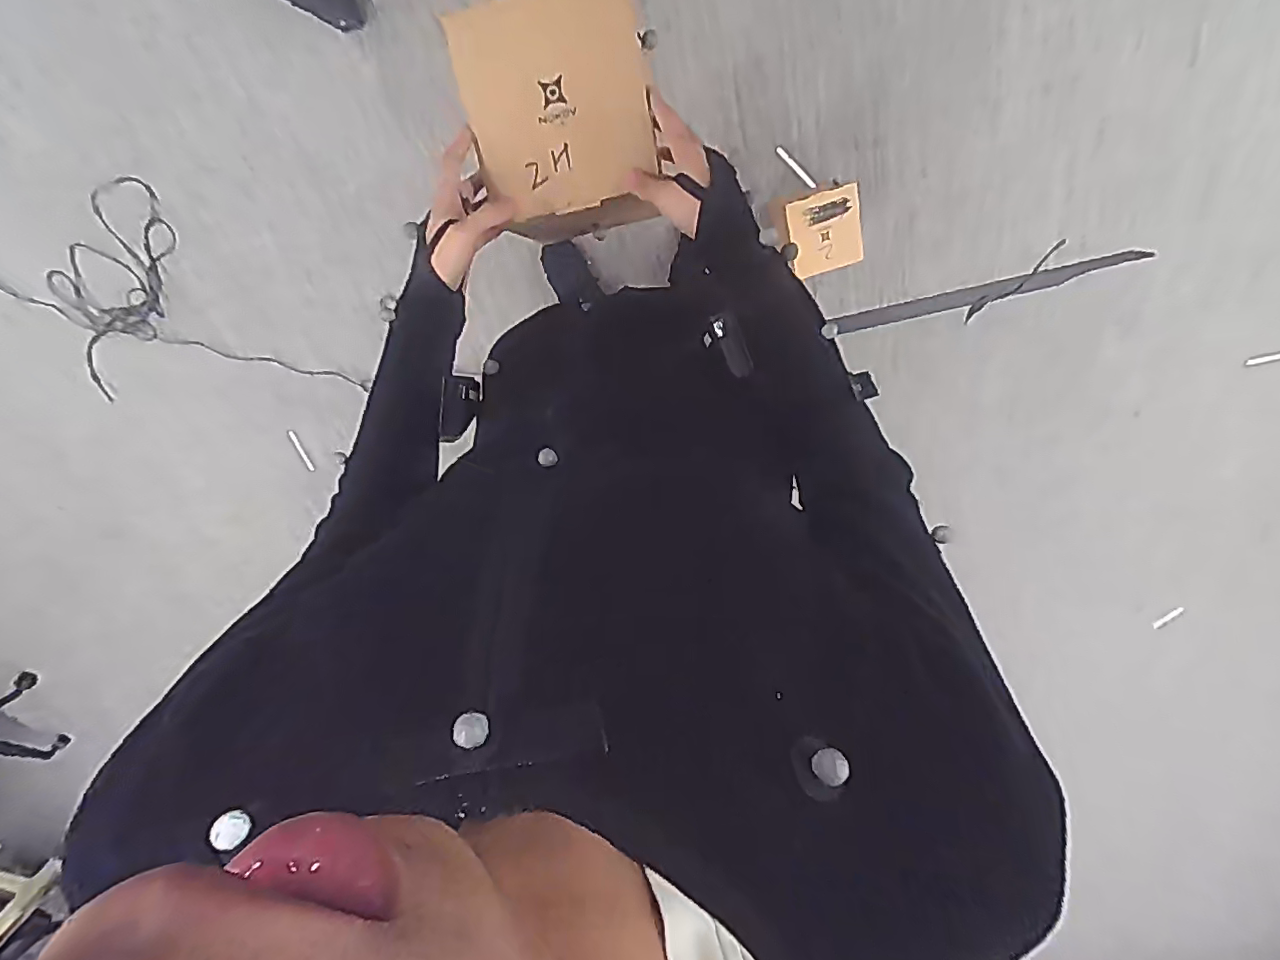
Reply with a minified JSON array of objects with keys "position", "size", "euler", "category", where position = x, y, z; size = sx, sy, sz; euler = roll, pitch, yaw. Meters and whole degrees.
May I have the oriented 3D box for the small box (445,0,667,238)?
[{"position":[-0.068,-0.365,0.556],"size":[0.168,0.176,0.179],"euler":[-9,108,9],"category":"small box"}]
